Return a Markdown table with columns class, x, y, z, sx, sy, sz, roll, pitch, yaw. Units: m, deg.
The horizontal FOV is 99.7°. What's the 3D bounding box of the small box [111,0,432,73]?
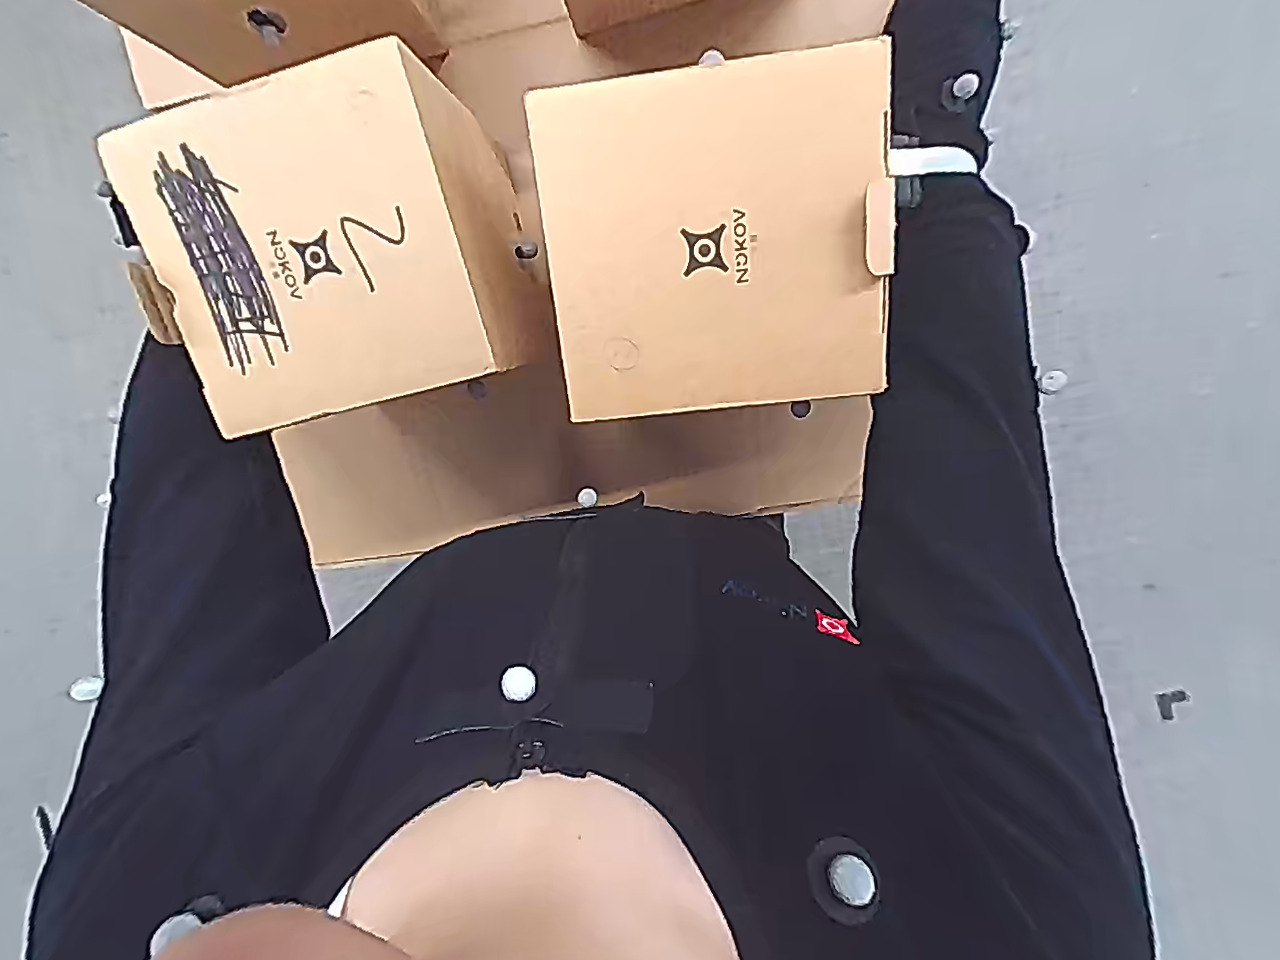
| class | x | y | z | sx | sy | sz | roll | pitch | yaw |
| --- | --- | --- | --- | --- | --- | --- | --- | --- | --- |
| small box | -0.247 | -0.380 | 0.318 | 0.168 | 0.176 | 0.179 | -9 | 102 | 6 |
